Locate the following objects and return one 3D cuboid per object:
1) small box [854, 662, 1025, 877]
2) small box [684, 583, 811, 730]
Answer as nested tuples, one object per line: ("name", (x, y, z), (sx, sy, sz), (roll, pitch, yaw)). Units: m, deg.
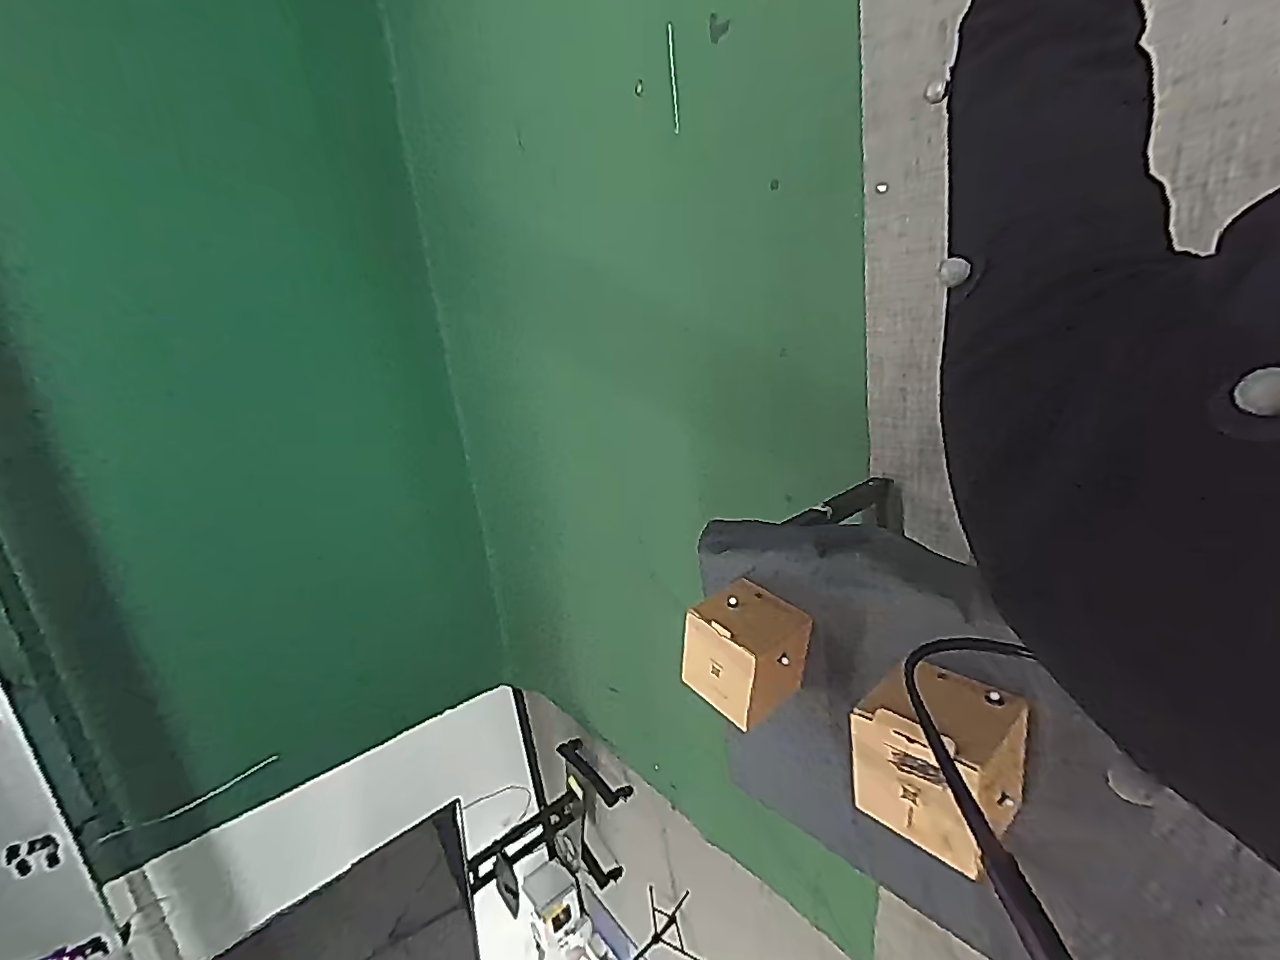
("small box", (0.426, 0.393, 0.773), (0.168, 0.176, 0.179), (11, 114, 50))
("small box", (0.204, 0.324, 1.032), (0.168, 0.176, 0.179), (27, 126, 45))
